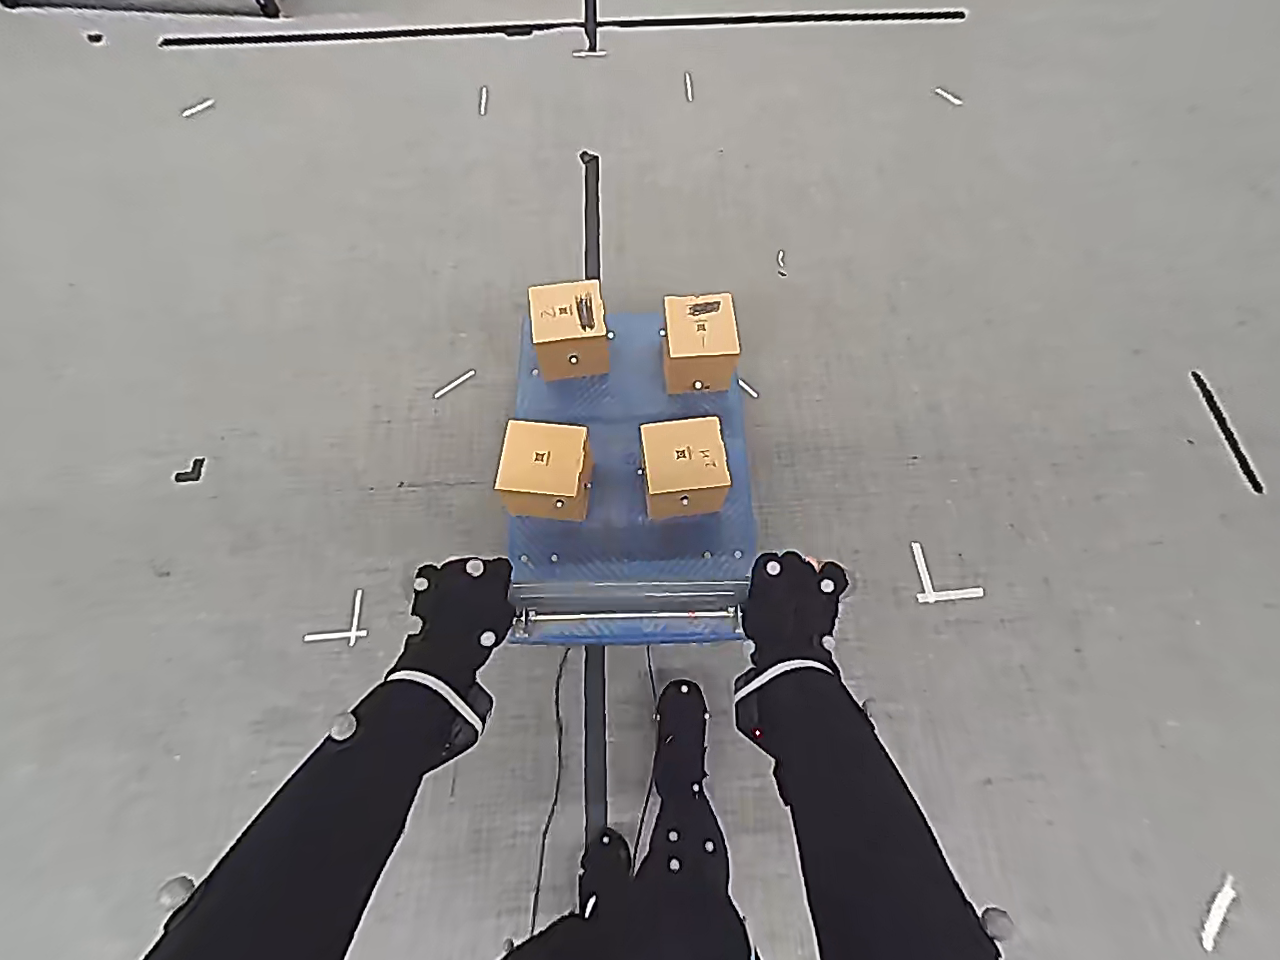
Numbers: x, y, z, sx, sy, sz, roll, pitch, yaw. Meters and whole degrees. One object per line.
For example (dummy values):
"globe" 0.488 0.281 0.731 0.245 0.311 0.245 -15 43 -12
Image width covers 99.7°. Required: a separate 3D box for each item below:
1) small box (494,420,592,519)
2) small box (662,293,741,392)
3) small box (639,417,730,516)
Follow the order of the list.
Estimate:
"small box" -0.210 -0.019 1.219 0.179 0.176 0.168 6 68 1
"small box" 0.145 -0.337 1.342 0.168 0.176 0.179 -3 69 -1
"small box" 0.095 -0.024 1.221 0.179 0.176 0.168 -6 69 -2
